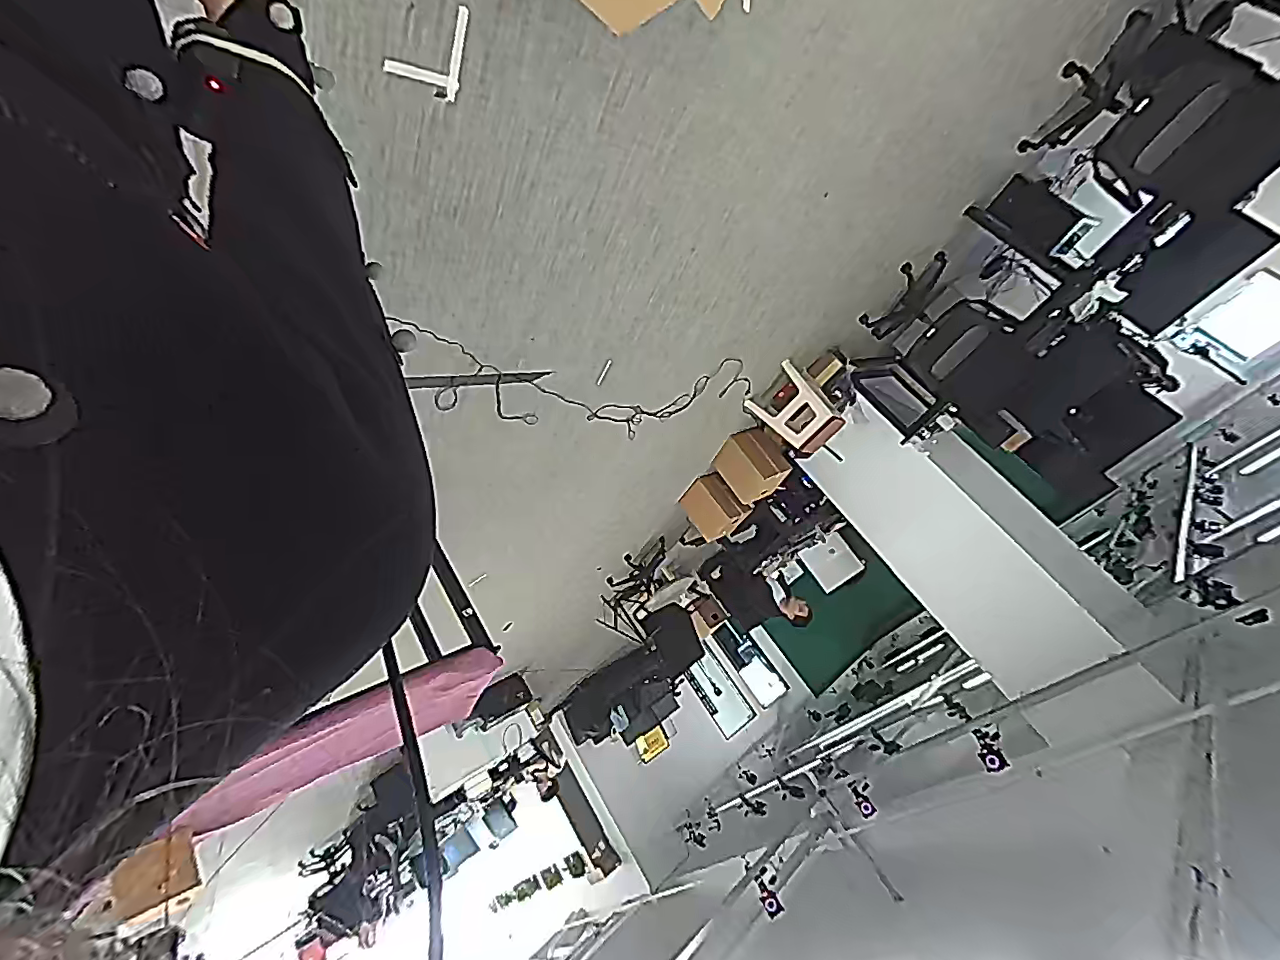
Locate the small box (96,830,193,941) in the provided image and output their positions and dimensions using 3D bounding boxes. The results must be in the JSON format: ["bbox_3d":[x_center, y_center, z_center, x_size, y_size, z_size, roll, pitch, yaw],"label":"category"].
[{"bbox_3d":[-1.396,1.133,1.523,0.179,0.176,0.168,-9,143,-48],"label":"small box"}]
